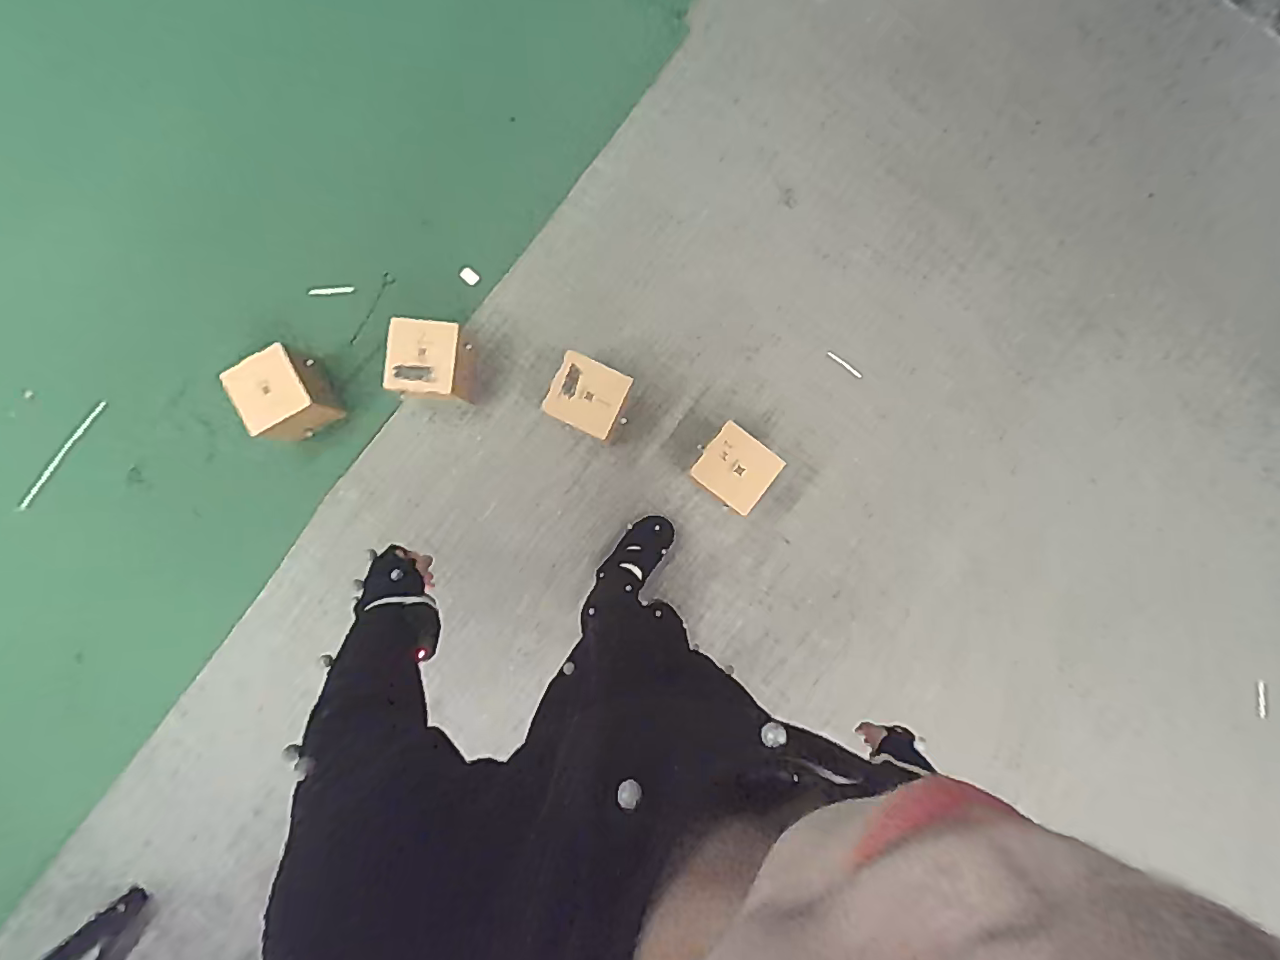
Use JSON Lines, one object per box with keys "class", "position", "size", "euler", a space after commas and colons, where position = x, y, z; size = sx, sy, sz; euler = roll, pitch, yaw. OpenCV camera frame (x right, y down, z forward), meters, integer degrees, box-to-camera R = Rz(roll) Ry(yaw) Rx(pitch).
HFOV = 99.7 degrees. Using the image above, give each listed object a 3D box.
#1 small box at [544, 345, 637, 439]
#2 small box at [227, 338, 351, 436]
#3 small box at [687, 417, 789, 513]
{"class": "small box", "position": [-0.119, -0.212, 1.368], "size": [0.179, 0.176, 0.168], "euler": [26, 89, 0]}
{"class": "small box", "position": [-0.886, -0.229, 1.379], "size": [0.168, 0.176, 0.179], "euler": [-28, 88, 0]}
{"class": "small box", "position": [0.238, -0.035, 1.361], "size": [0.179, 0.176, 0.168], "euler": [38, 89, 1]}
